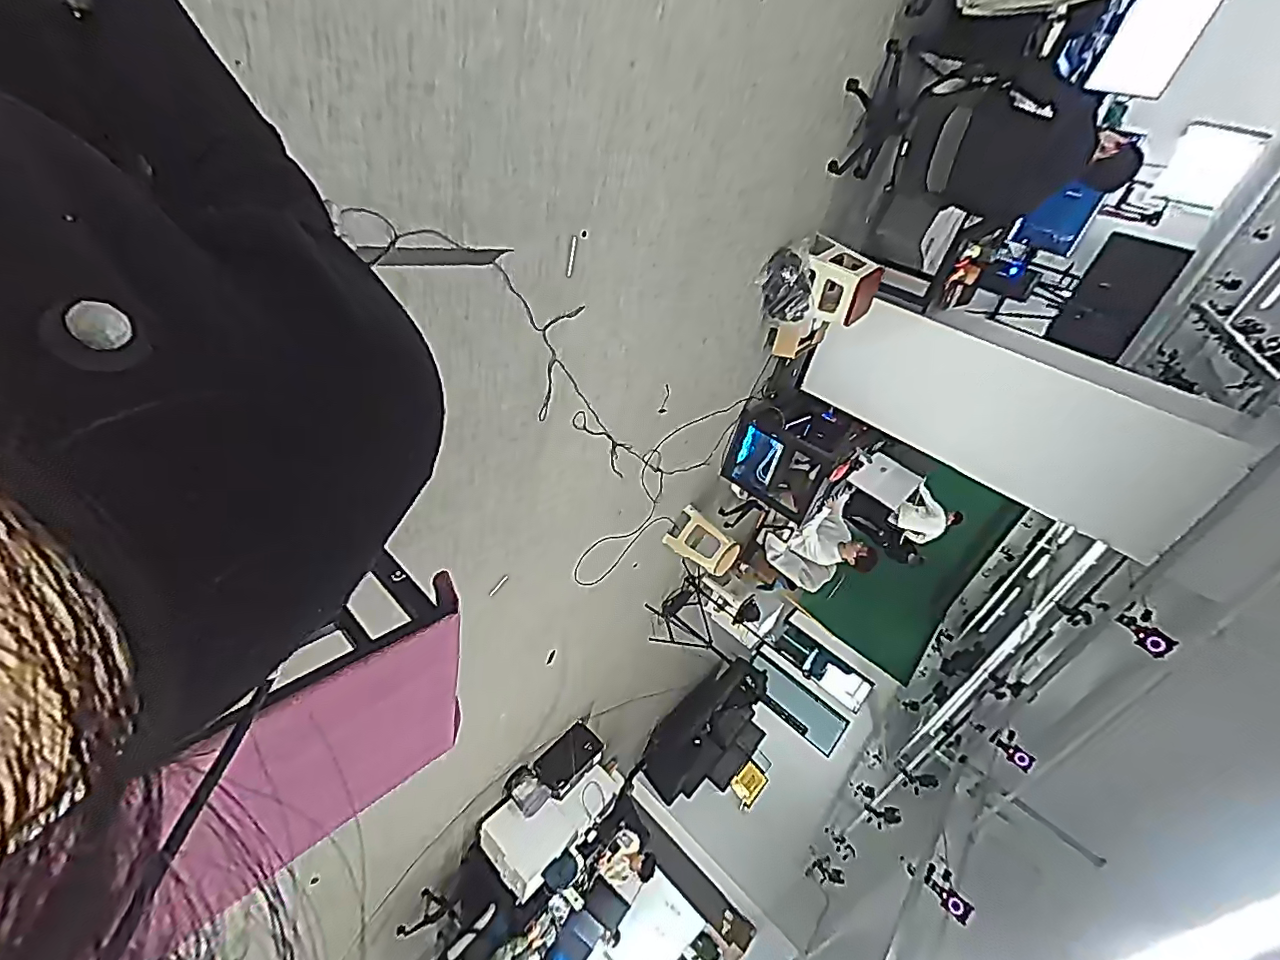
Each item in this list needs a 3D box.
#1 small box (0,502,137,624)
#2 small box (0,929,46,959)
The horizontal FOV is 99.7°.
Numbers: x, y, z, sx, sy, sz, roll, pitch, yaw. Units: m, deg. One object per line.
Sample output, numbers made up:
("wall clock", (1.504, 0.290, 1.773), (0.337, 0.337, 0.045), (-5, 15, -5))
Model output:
("small box", (-1.289, 0.181, 1.222), (0.168, 0.176, 0.179), (-26, 140, -44))
("small box", (-1.012, 0.837, 0.802), (0.179, 0.176, 0.168), (-24, 141, -46))
